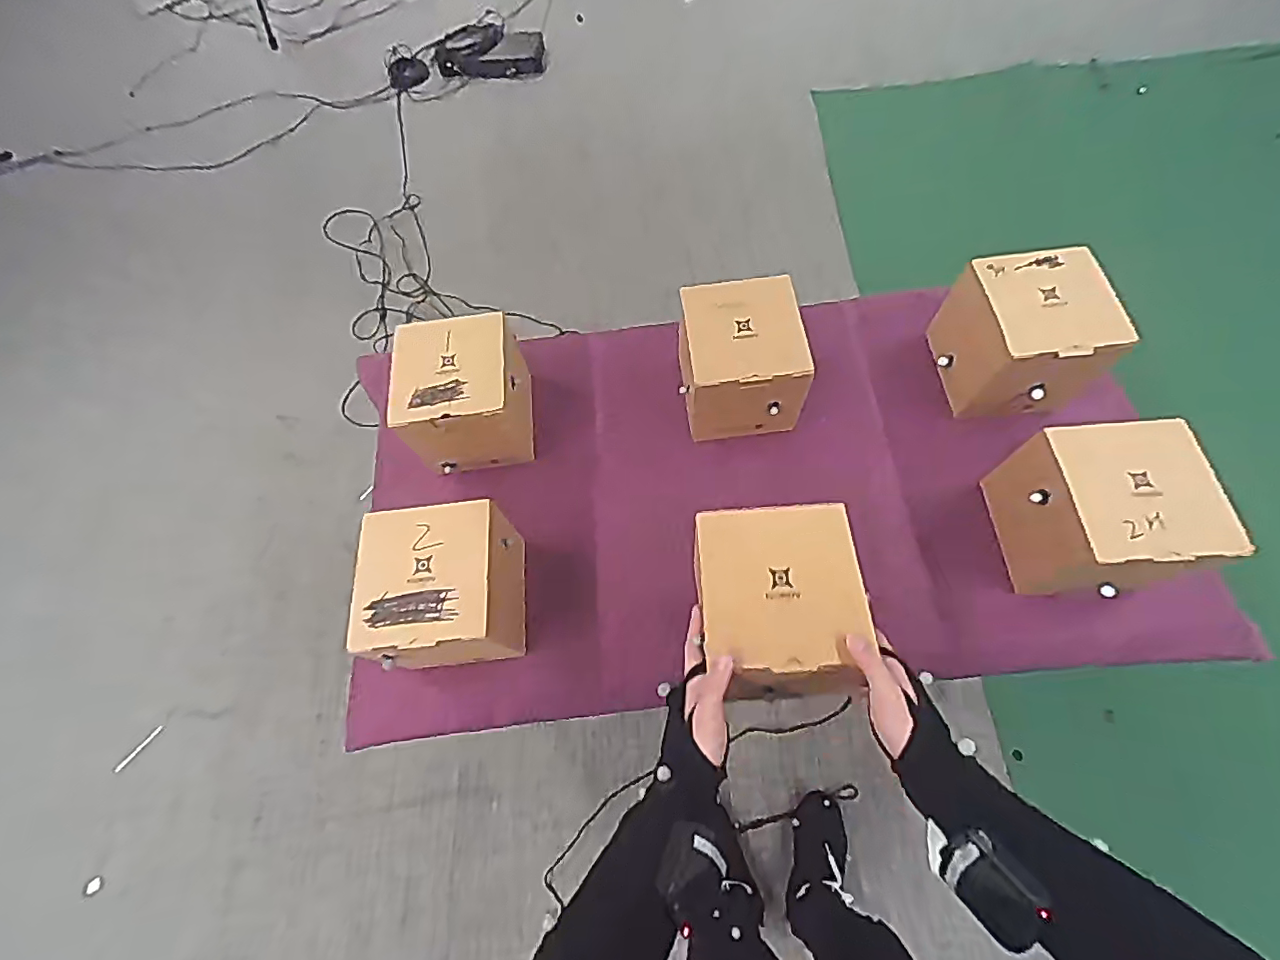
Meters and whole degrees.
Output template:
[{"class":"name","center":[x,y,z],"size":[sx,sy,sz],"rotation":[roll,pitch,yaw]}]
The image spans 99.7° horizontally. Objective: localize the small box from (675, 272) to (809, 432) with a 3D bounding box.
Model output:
[{"class":"small box","center":[0.148,-0.185,0.835],"size":[0.168,0.176,0.179],"rotation":[-7,67,2]}]

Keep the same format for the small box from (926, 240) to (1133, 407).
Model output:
[{"class":"small box","center":[0.562,-0.222,0.811],"size":[0.168,0.176,0.179],"rotation":[-6,68,3]}]

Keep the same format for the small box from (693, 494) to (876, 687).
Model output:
[{"class":"small box","center":[0.149,0.134,0.629],"size":[0.168,0.176,0.179],"rotation":[-4,61,4]}]

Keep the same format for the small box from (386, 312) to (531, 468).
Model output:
[{"class":"small box","center":[-0.272,-0.129,0.846],"size":[0.168,0.176,0.179],"rotation":[-8,66,1]}]

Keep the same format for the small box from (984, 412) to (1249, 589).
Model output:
[{"class":"small box","center":[0.583,0.033,0.696],"size":[0.168,0.176,0.179],"rotation":[-4,66,5]}]
